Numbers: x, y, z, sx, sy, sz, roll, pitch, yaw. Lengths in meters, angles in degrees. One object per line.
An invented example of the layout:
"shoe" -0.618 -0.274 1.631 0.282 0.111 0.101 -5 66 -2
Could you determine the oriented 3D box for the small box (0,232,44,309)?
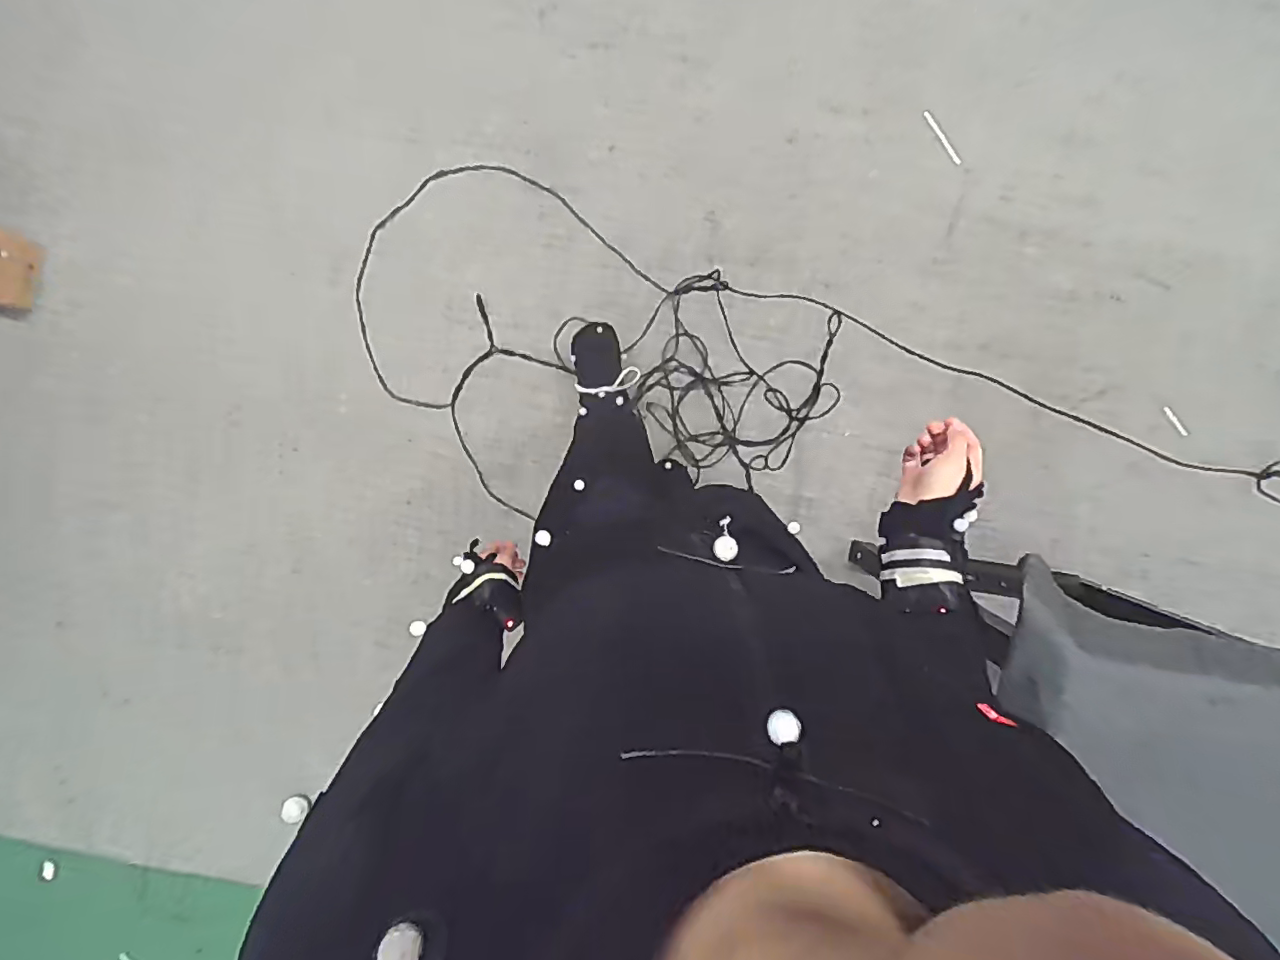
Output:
"small box" -1.554 -0.508 1.245 0.179 0.176 0.168 19 95 0
